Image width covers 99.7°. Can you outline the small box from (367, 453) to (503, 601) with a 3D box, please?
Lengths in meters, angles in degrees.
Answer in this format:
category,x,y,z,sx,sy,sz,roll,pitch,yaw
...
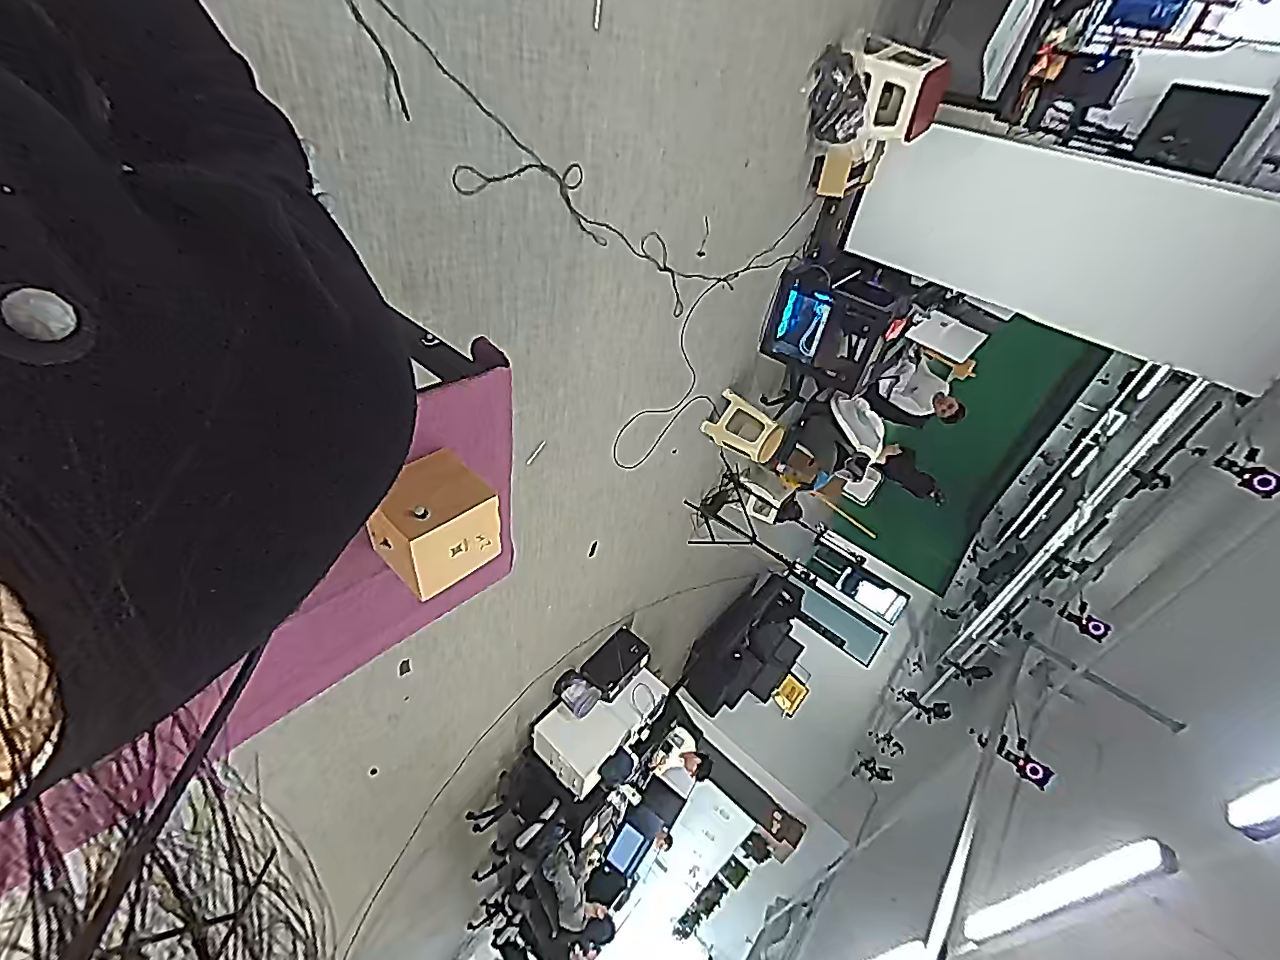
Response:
category,x,y,z,sx,sy,sz,roll,pitch,yaw
small box,-0.377,0.080,0.995,0.179,0.176,0.168,-34,148,-38
